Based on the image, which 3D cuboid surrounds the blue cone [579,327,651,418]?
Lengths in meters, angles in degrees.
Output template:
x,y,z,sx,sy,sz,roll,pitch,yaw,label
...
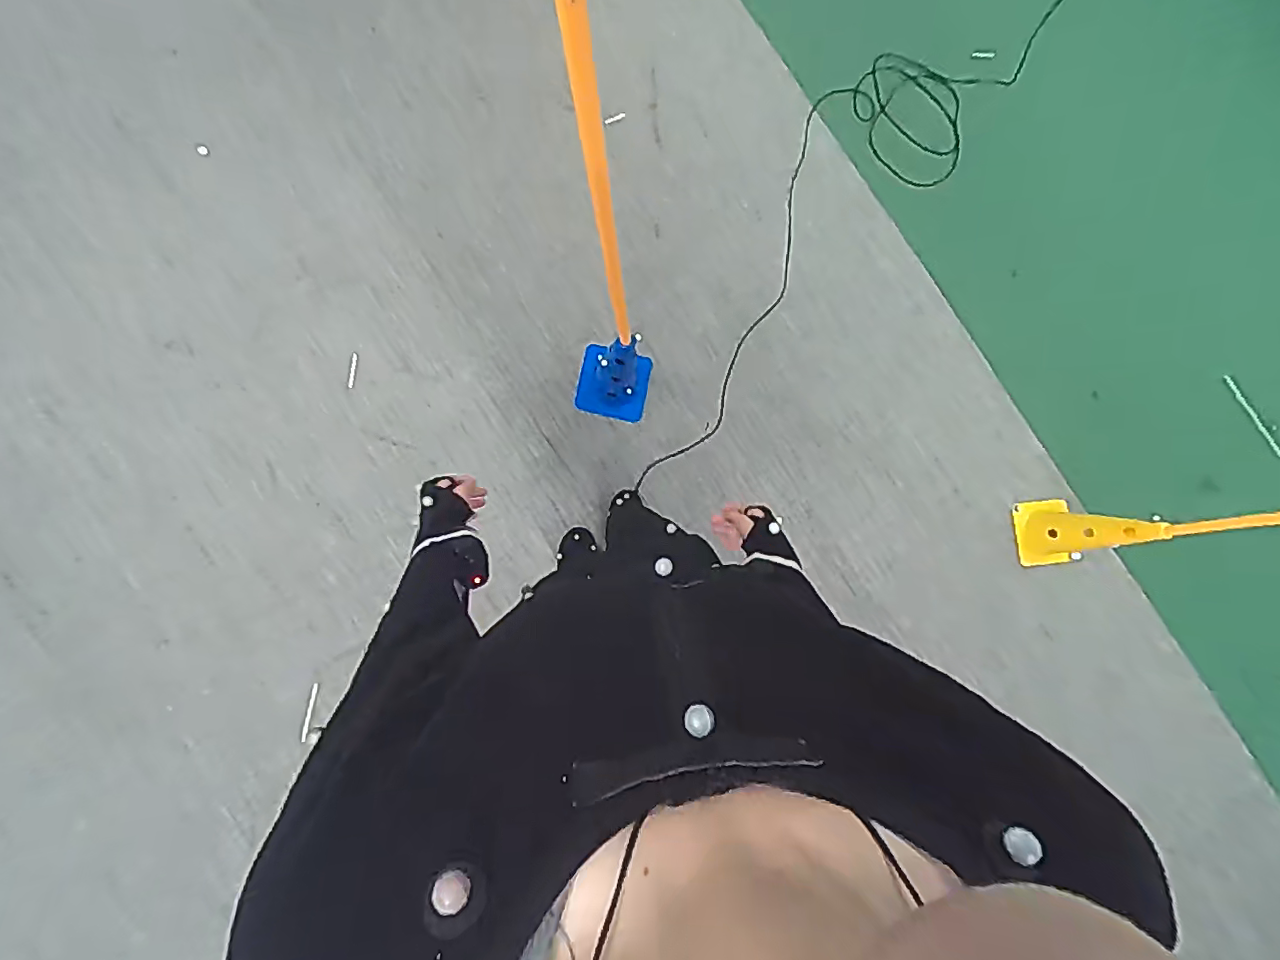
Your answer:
x,y,z,sx,sy,sz,roll,pitch,yaw,label
-0.052,-0.291,1.373,0.193,0.380,0.192,11,83,-5,blue cone
